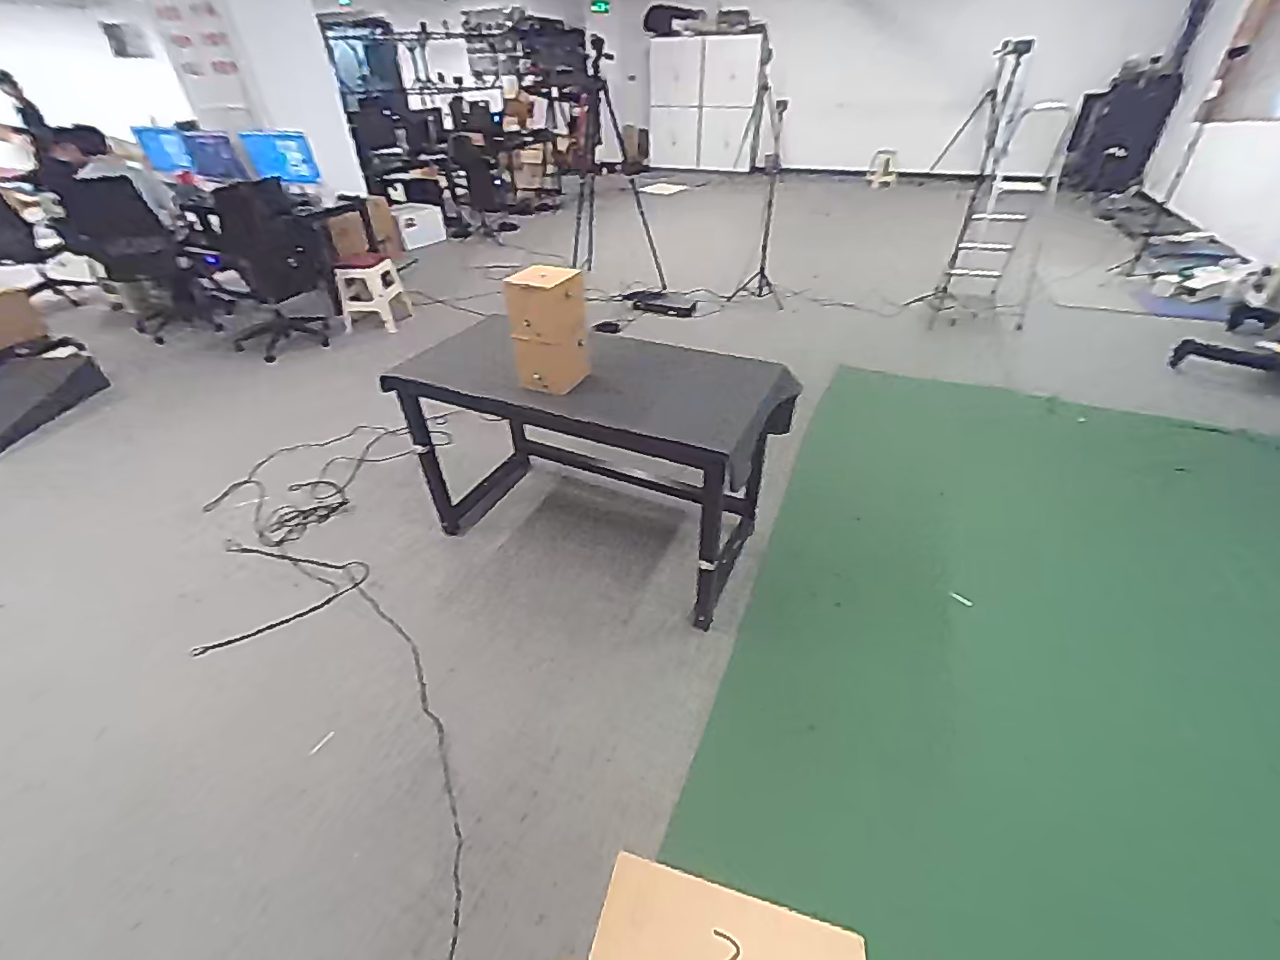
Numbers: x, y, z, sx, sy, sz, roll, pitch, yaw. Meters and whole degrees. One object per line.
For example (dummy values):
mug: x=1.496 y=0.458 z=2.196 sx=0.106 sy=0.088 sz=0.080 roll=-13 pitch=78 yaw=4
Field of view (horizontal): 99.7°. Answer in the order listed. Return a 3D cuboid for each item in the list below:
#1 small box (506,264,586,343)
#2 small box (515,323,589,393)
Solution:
small box: x=-0.271 y=-0.524 z=1.600 sx=0.168 sy=0.176 sz=0.179 roll=15 pitch=40 yaw=20
small box: x=-0.268 y=-0.395 z=1.698 sx=0.168 sy=0.176 sz=0.179 roll=14 pitch=40 yaw=20
